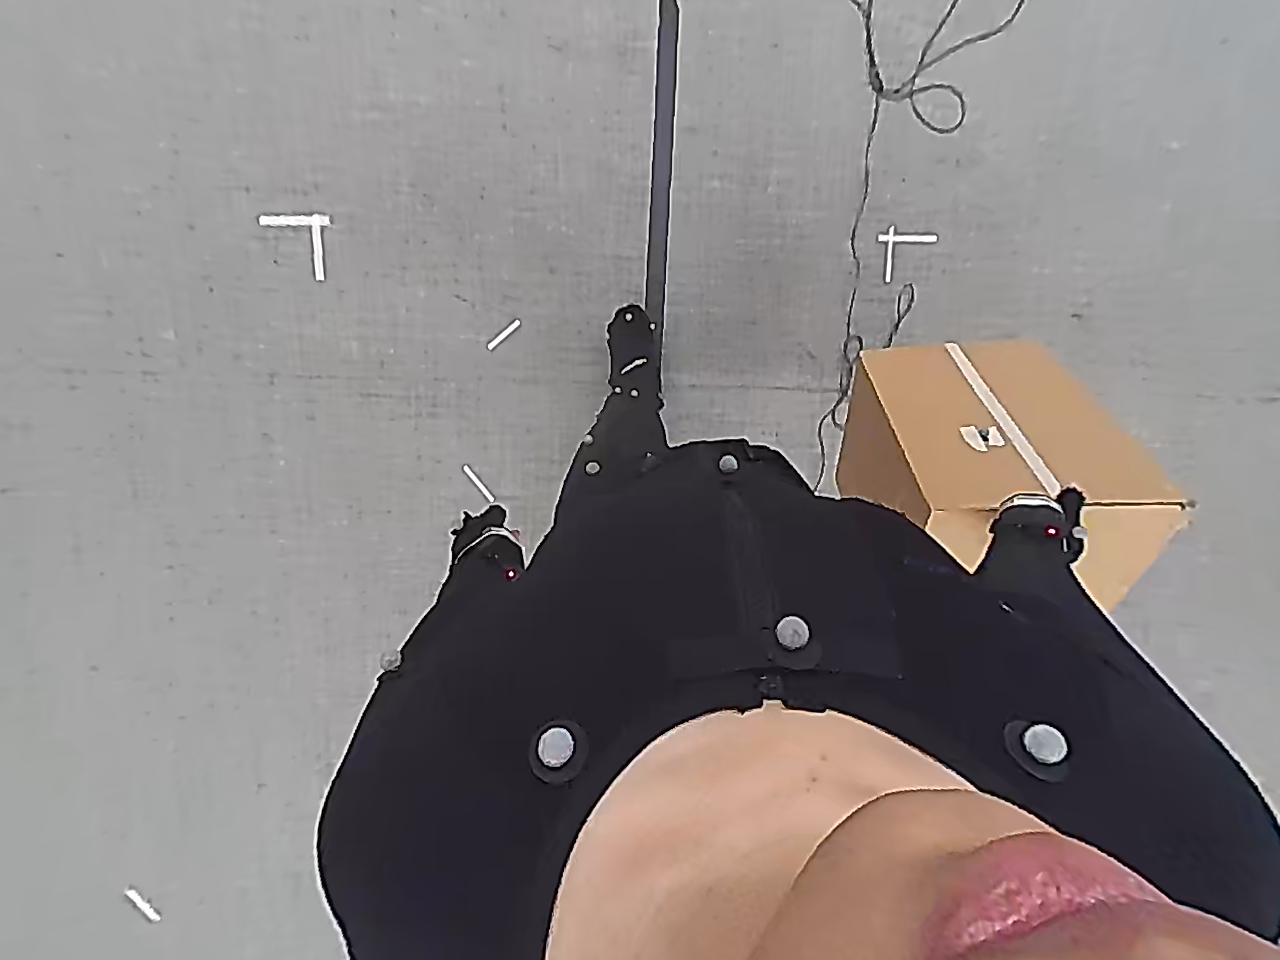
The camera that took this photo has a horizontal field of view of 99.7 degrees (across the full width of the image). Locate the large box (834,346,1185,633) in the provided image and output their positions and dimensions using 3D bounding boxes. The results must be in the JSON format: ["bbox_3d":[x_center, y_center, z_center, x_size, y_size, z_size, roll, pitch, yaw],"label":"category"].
[{"bbox_3d":[0.556,0.010,0.937,0.320,0.408,0.320,-3,134,6],"label":"large box"}]
